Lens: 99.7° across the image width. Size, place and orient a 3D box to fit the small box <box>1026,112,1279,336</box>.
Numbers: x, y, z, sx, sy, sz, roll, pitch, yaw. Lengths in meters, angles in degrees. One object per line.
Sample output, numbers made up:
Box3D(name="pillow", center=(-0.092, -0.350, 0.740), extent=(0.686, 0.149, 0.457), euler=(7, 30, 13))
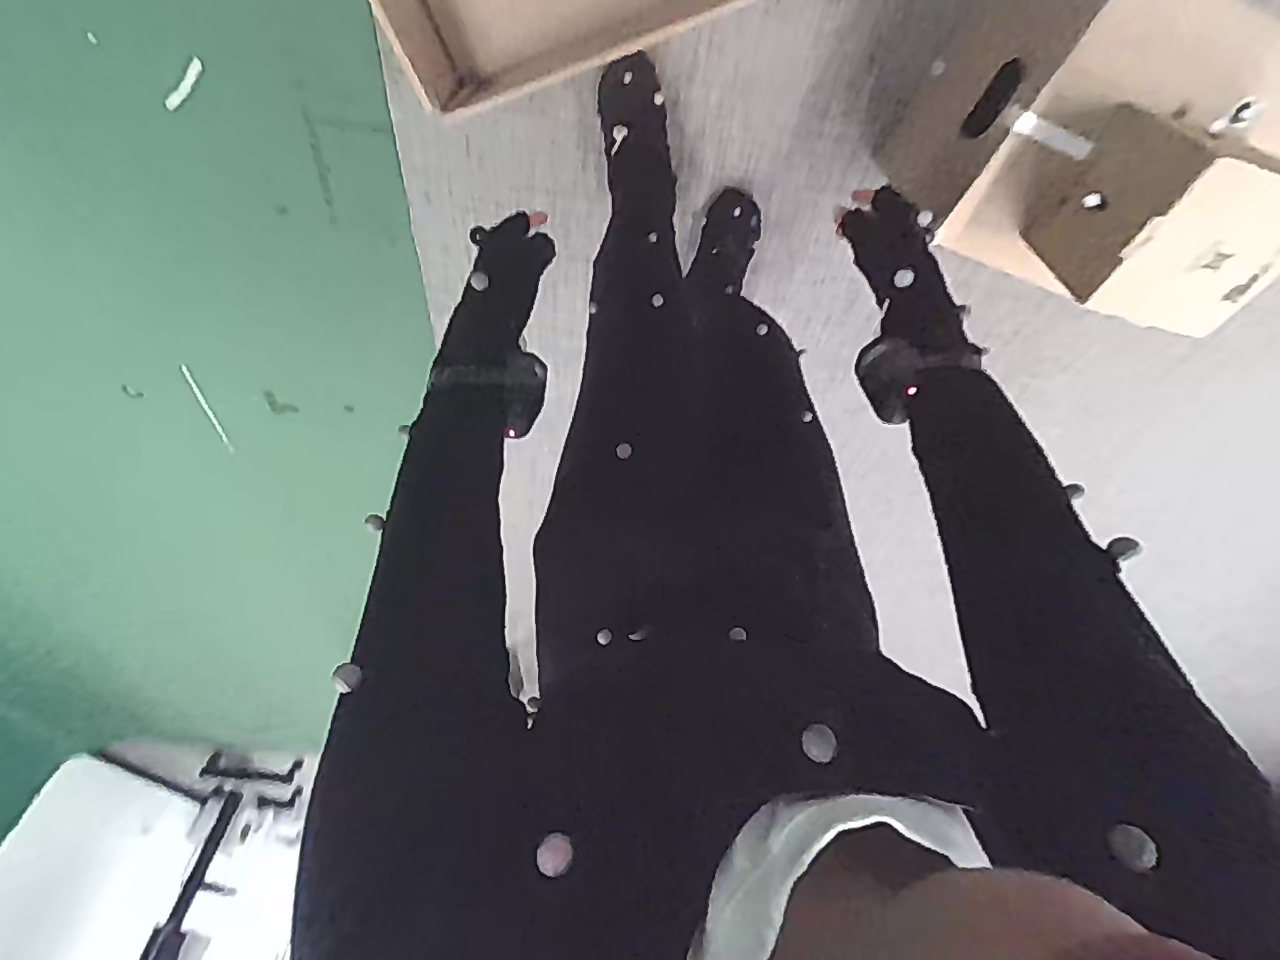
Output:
Box3D(name="small box", center=(0.609, -0.301, 0.633), extent=(0.179, 0.176, 0.168), euler=(11, 138, -8))
